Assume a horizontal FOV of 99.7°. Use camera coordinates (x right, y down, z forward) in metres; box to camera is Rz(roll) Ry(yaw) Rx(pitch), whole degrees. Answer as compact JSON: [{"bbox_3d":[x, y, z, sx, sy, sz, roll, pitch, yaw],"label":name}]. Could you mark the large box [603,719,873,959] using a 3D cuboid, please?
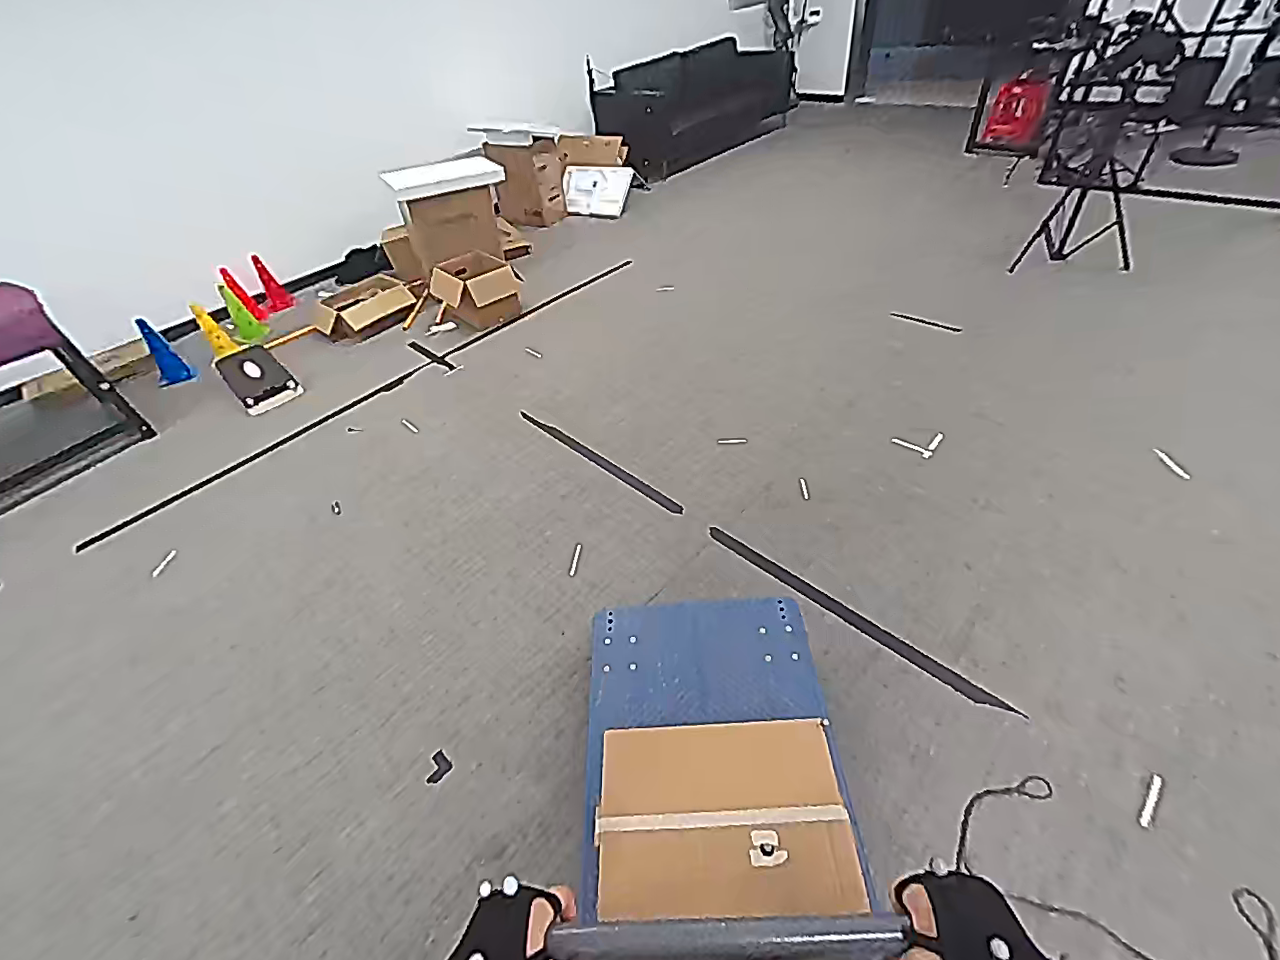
[{"bbox_3d":[0.150,0.672,0.995,0.408,0.320,0.320,-5,43,3],"label":"large box"}]
